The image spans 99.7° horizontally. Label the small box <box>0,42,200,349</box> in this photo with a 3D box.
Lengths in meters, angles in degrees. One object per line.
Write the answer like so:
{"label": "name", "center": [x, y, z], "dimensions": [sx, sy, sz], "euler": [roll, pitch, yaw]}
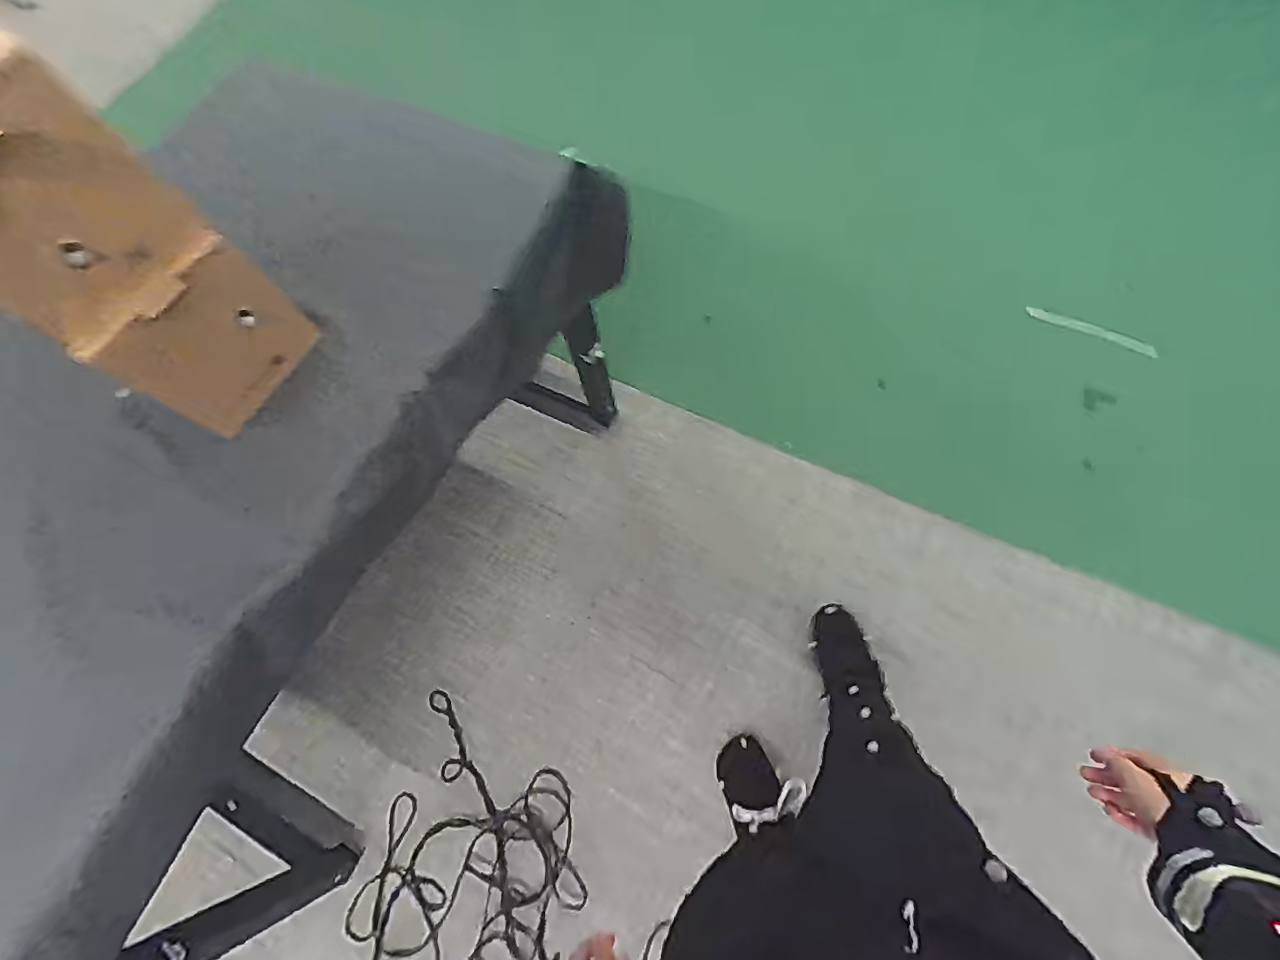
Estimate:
{"label": "small box", "center": [-0.539, -0.240, 0.449], "dimensions": [0.179, 0.176, 0.168], "euler": [27, 72, 13]}

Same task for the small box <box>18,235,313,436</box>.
{"label": "small box", "center": [-0.515, -0.170, 0.595], "dimensions": [0.179, 0.176, 0.168], "euler": [26, 72, 15]}
